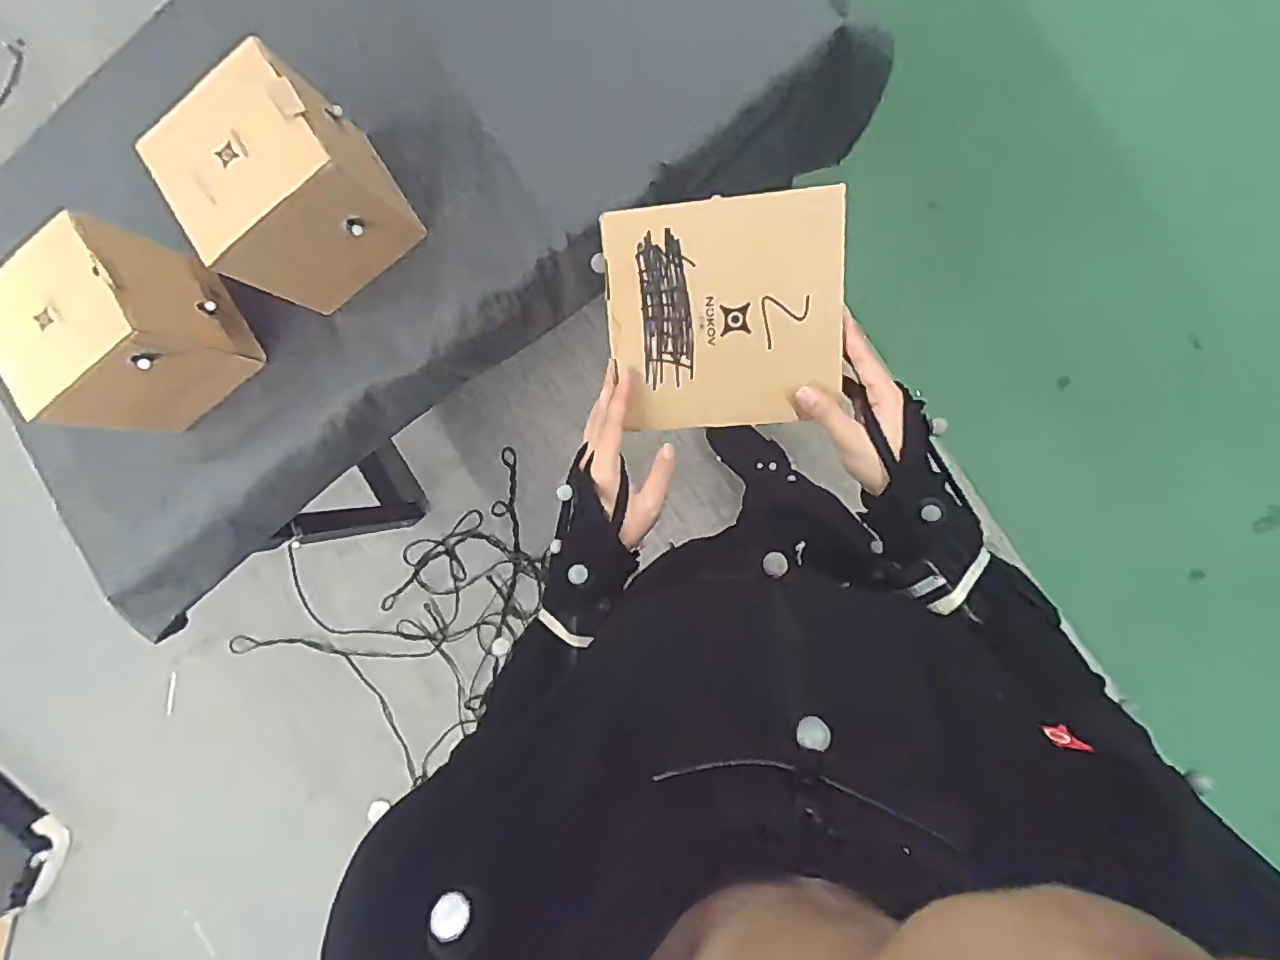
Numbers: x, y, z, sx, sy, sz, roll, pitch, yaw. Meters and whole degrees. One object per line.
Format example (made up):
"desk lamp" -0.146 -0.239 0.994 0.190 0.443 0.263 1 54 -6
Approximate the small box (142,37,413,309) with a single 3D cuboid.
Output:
"small box" -0.395 -0.332 0.624 0.179 0.176 0.168 -34 83 10

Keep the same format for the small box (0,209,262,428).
"small box" -0.628 -0.180 0.669 0.179 0.176 0.168 -35 84 8
